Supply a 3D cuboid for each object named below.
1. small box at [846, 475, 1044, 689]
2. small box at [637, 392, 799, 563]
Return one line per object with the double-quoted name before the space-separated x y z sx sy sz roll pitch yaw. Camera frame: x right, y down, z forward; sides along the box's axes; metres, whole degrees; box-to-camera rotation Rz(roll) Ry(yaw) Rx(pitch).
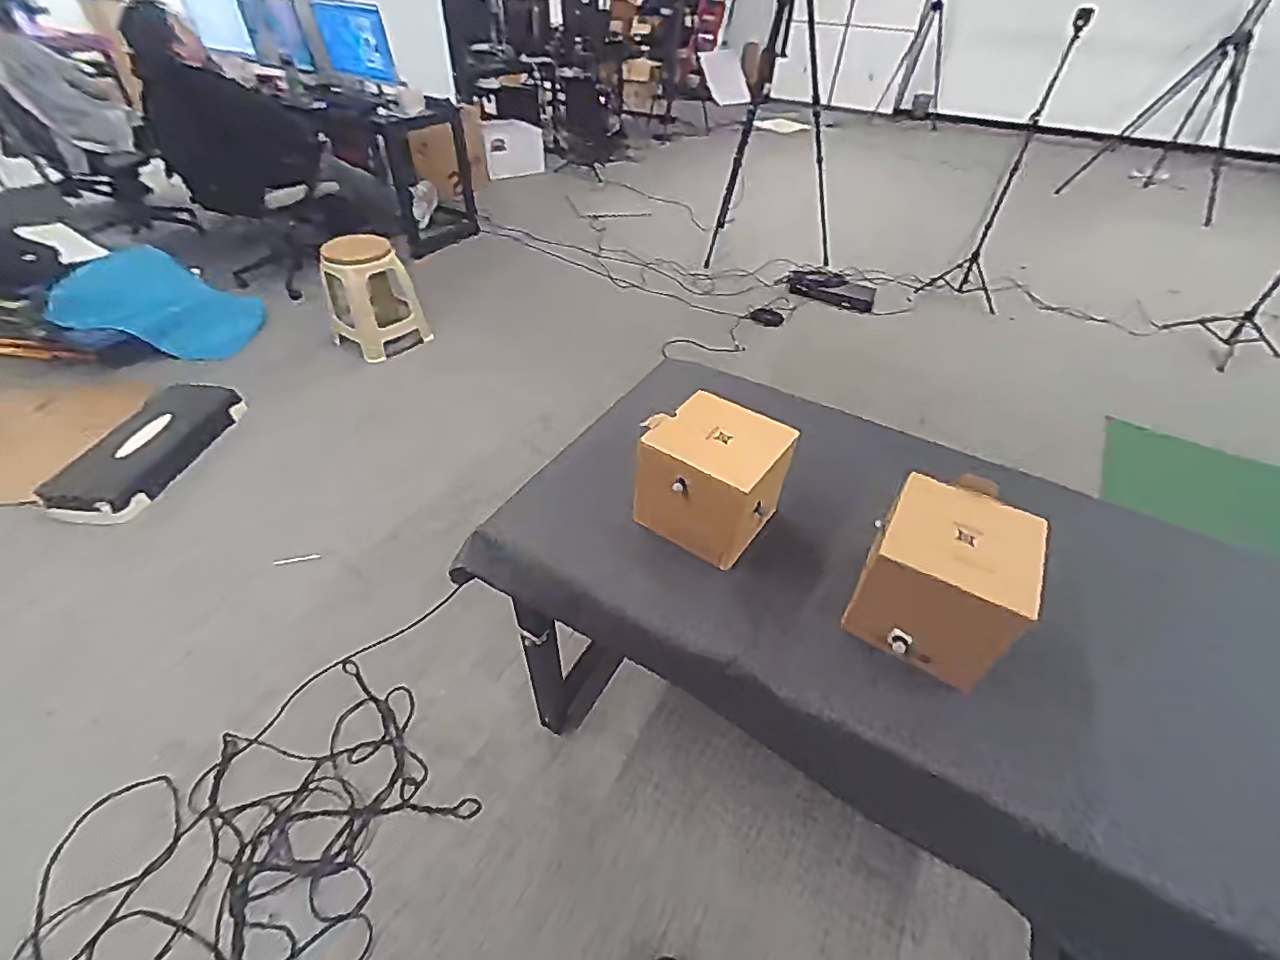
"small box" 0.387 0.130 0.703 0.168 0.176 0.179 23 47 22
"small box" 0.112 0.000 0.824 0.179 0.176 0.168 28 48 24
